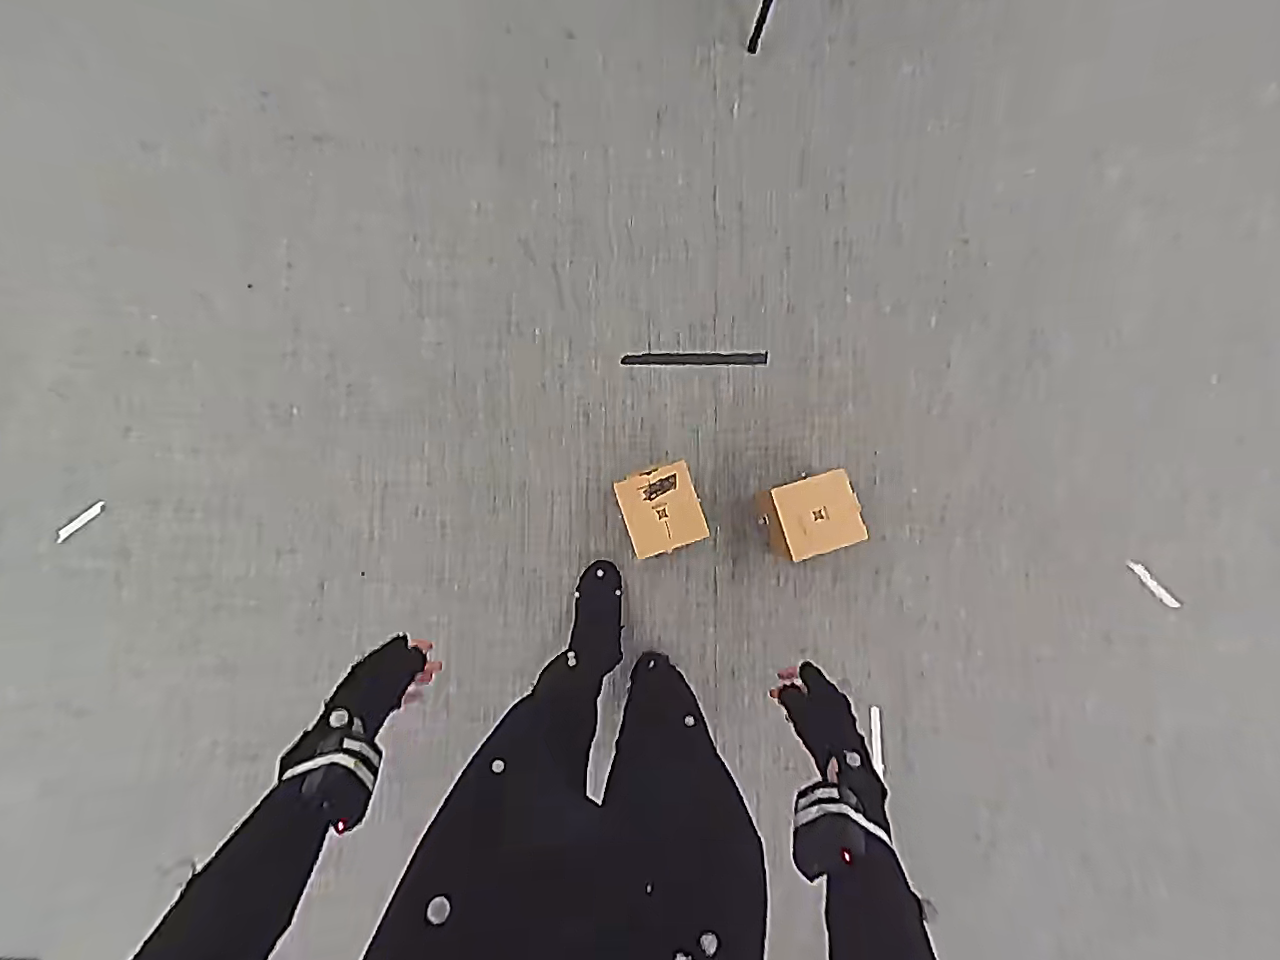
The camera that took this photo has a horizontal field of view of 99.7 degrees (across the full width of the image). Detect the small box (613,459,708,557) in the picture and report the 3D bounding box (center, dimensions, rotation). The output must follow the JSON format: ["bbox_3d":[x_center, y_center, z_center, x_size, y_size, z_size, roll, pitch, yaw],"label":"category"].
[{"bbox_3d":[0.040,0.066,1.238,0.168,0.176,0.179,-19,87,-2],"label":"small box"}]

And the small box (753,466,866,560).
[{"bbox_3d":[0.381,0.074,1.246,0.179,0.176,0.168,-18,86,-1],"label":"small box"}]
